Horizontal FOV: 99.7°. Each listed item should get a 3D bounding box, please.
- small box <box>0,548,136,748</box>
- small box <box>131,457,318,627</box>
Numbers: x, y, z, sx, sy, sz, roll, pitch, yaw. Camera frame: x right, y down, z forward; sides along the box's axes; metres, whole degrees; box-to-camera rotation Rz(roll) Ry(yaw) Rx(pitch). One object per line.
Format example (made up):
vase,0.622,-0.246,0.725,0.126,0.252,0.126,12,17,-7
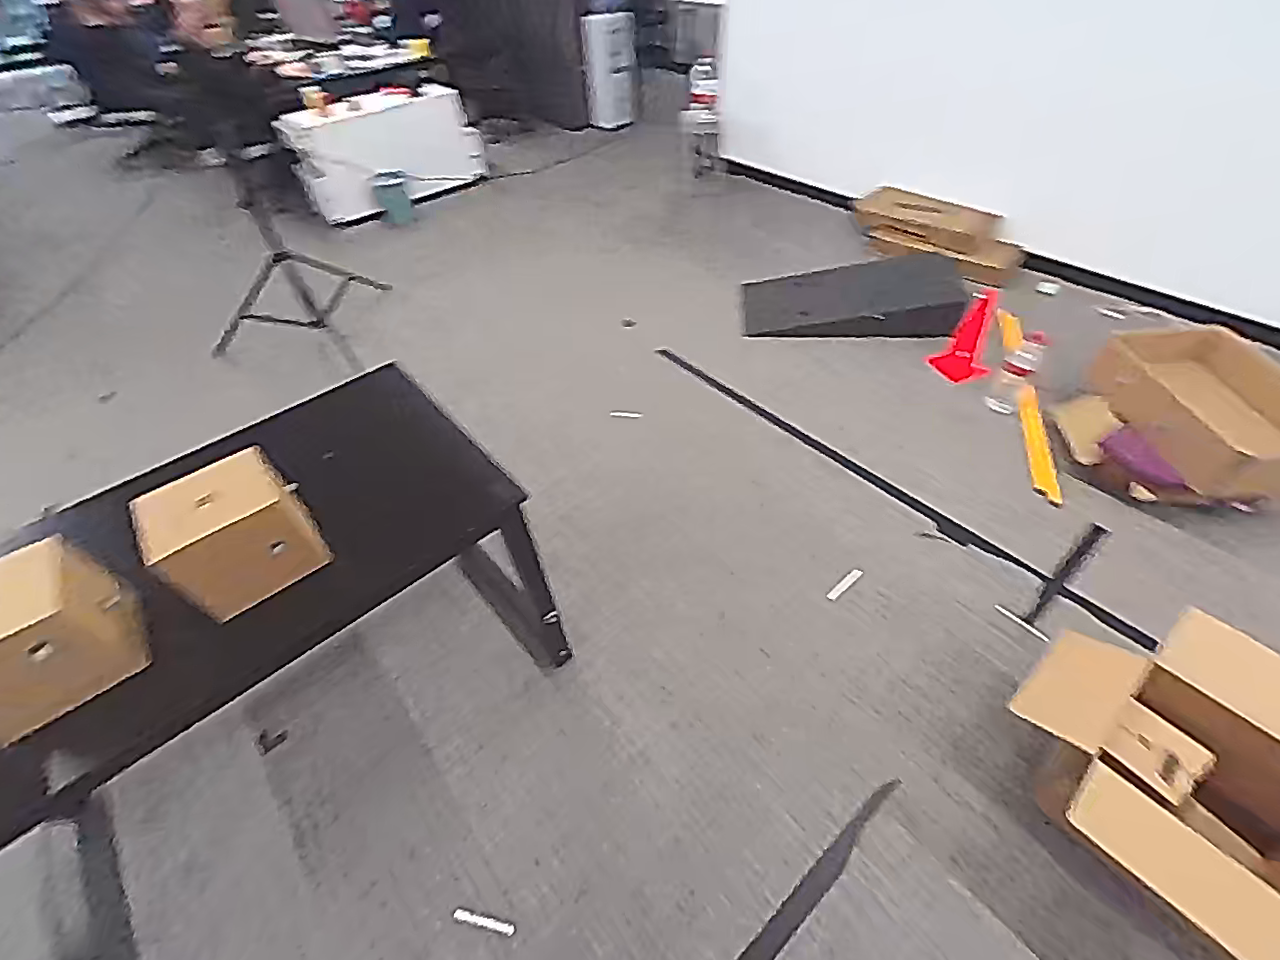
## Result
small box,-0.868,0.237,0.766,0.179,0.176,0.168,-34,53,-24
small box,-0.660,0.100,0.880,0.179,0.176,0.168,-35,52,-26
